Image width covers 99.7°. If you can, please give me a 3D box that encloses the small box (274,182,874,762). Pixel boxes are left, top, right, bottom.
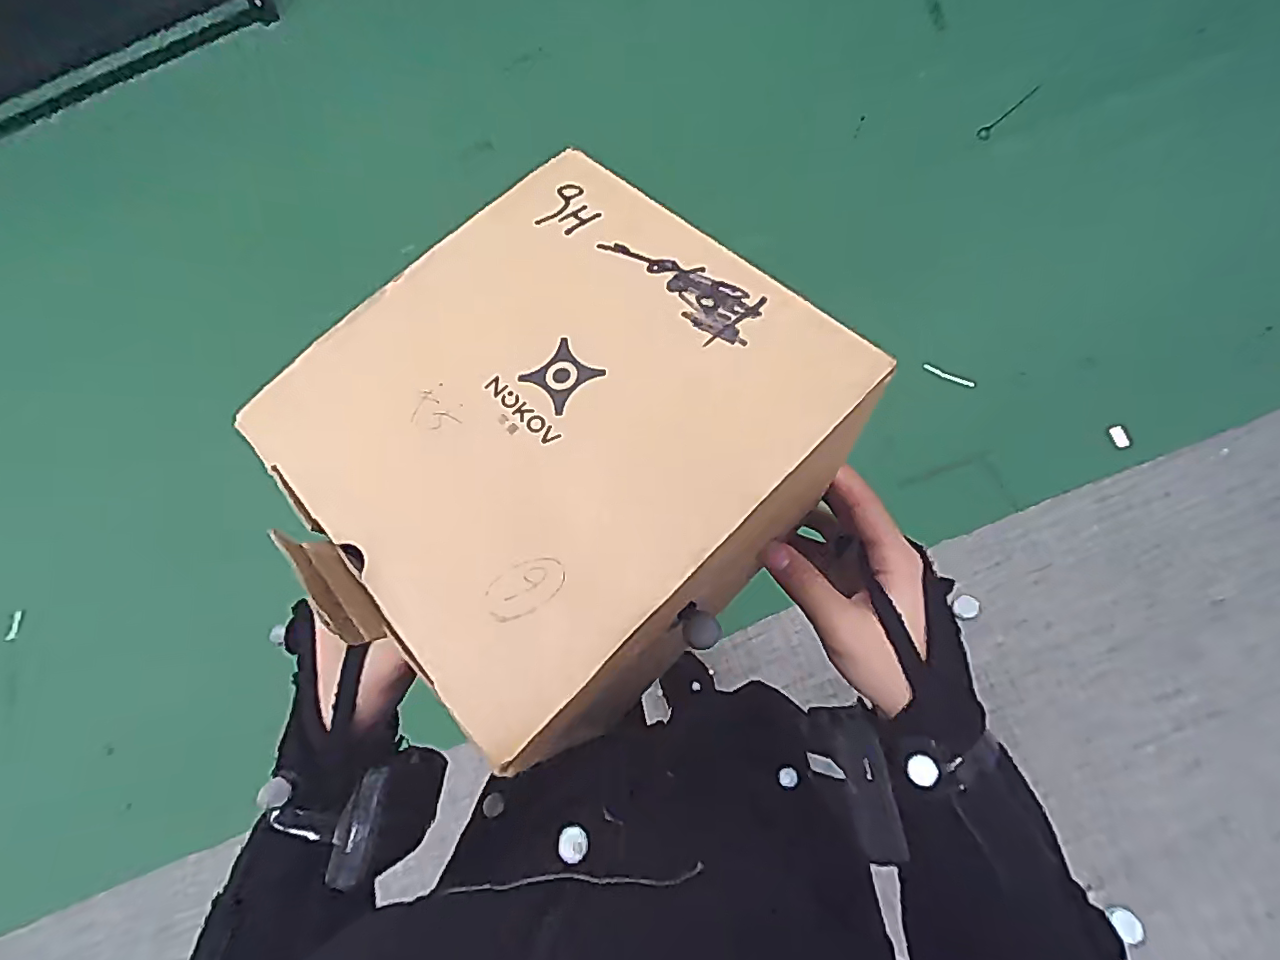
[{"bbox_3d":[-0.021,0.005,0.276,0.179,0.176,0.168,-44,71,-9],"label":"small box"}]
